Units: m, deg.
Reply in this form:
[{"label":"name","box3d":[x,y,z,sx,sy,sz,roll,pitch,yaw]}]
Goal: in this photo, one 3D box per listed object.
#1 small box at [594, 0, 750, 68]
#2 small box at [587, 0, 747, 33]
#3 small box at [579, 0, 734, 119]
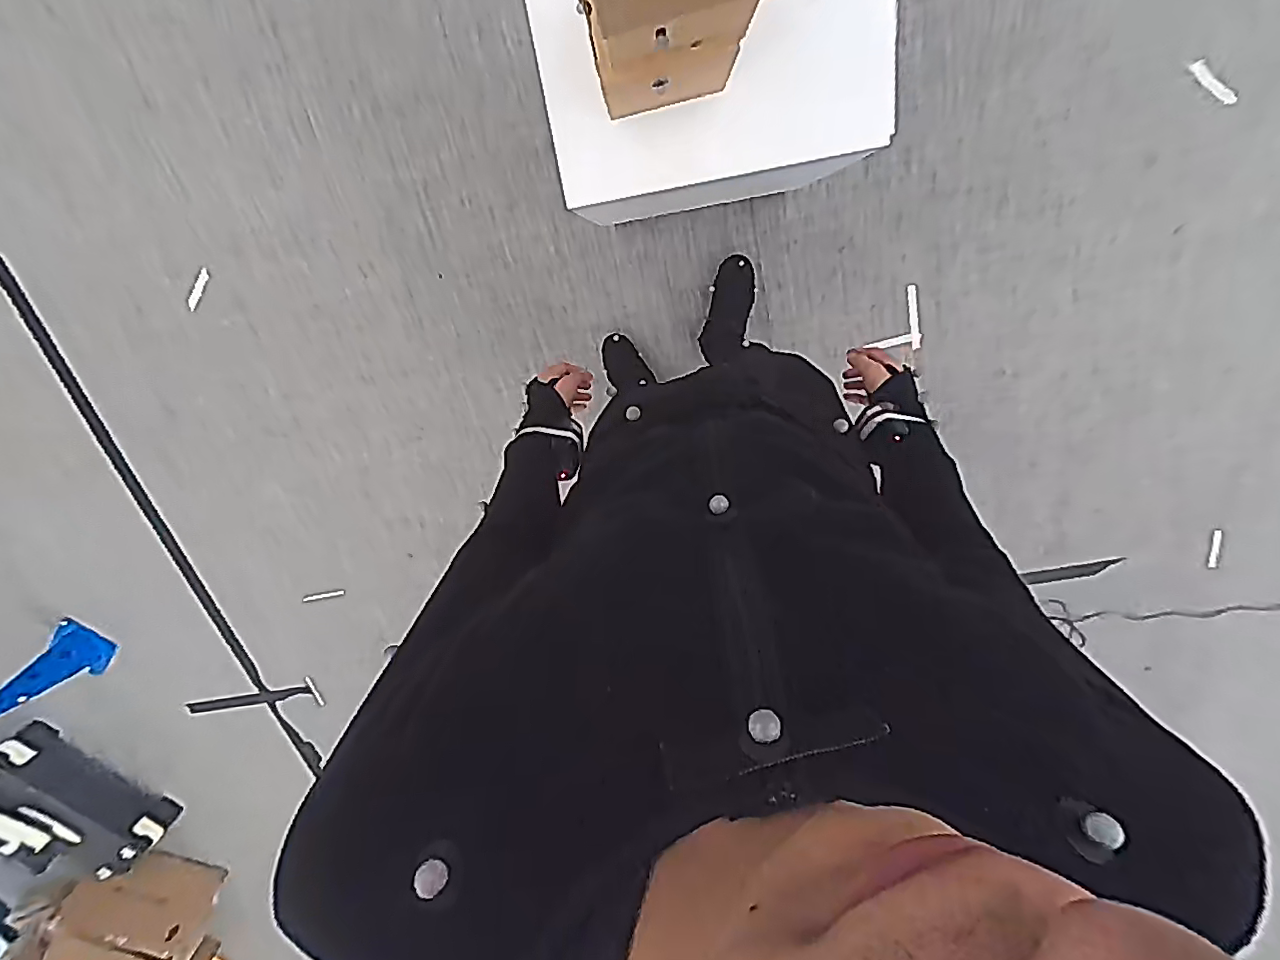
[{"label":"small box","box3d":[0.023,-0.559,0.555,0.168,0.176,0.179,-10,110,5]},{"label":"small box","box3d":[0.024,-0.482,0.409,0.179,0.176,0.168,-11,111,5]},{"label":"small box","box3d":[0.016,-0.605,0.712,0.179,0.176,0.168,-12,111,5]}]
